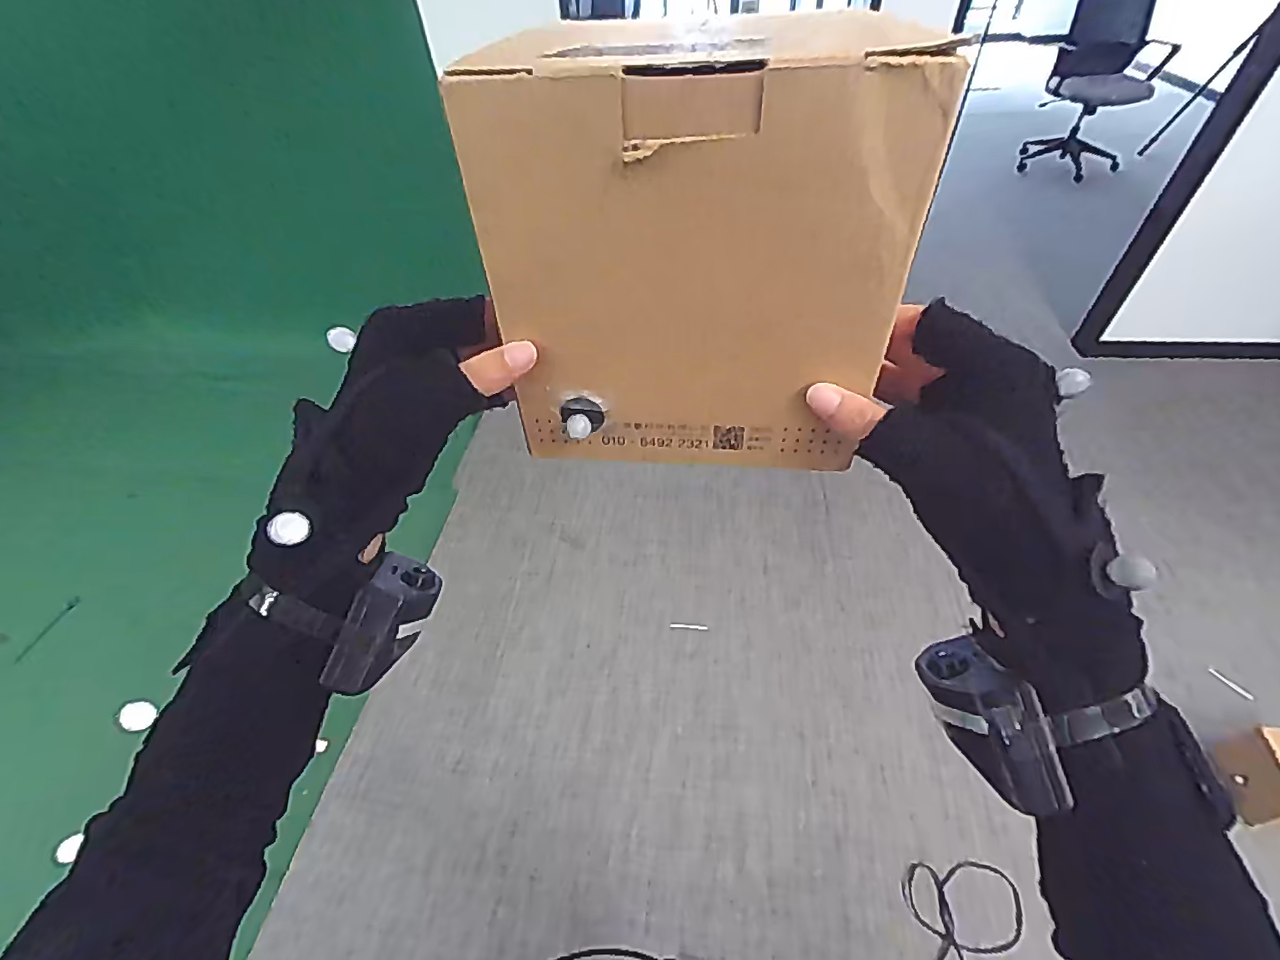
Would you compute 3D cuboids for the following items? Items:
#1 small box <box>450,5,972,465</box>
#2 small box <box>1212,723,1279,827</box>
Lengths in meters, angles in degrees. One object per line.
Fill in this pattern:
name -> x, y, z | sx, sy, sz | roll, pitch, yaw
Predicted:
small box -> 0.031, -0.123, 0.280 | 0.168, 0.176, 0.179 | 3, 44, 6
small box -> 1.445, 0.653, 1.183 | 0.179, 0.176, 0.168 | 3, 47, 7
